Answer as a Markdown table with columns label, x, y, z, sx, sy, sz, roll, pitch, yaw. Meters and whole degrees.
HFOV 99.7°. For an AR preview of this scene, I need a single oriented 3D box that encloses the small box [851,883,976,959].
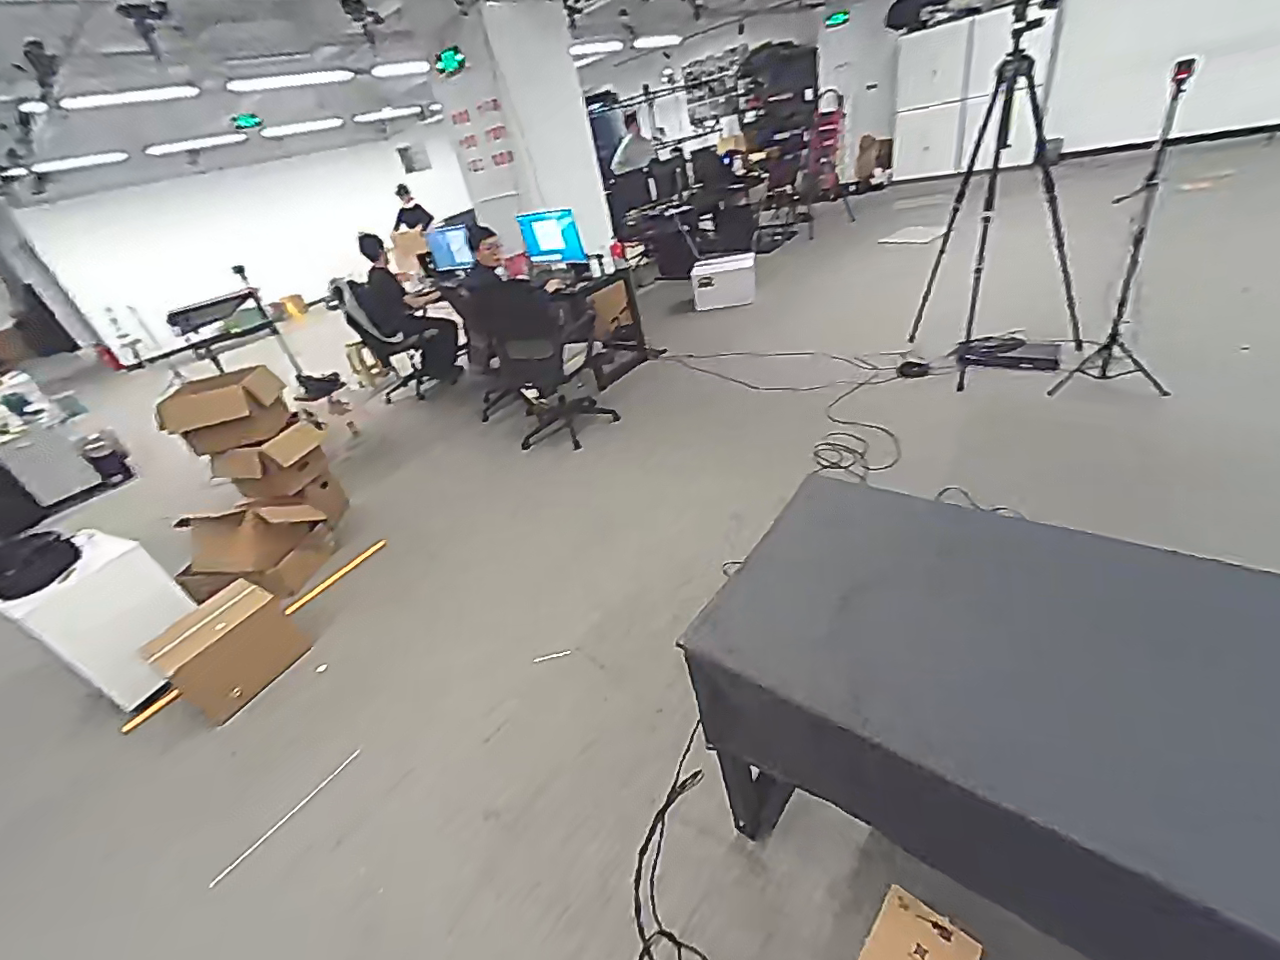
| label | x | y | z | sx | sy | sz | roll | pitch | yaw |
| --- | --- | --- | --- | --- | --- | --- | --- | --- | --- |
| small box | 0.523 | 0.947 | 1.041 | 0.168 | 0.176 | 0.179 | 18 | 44 | 42 |
